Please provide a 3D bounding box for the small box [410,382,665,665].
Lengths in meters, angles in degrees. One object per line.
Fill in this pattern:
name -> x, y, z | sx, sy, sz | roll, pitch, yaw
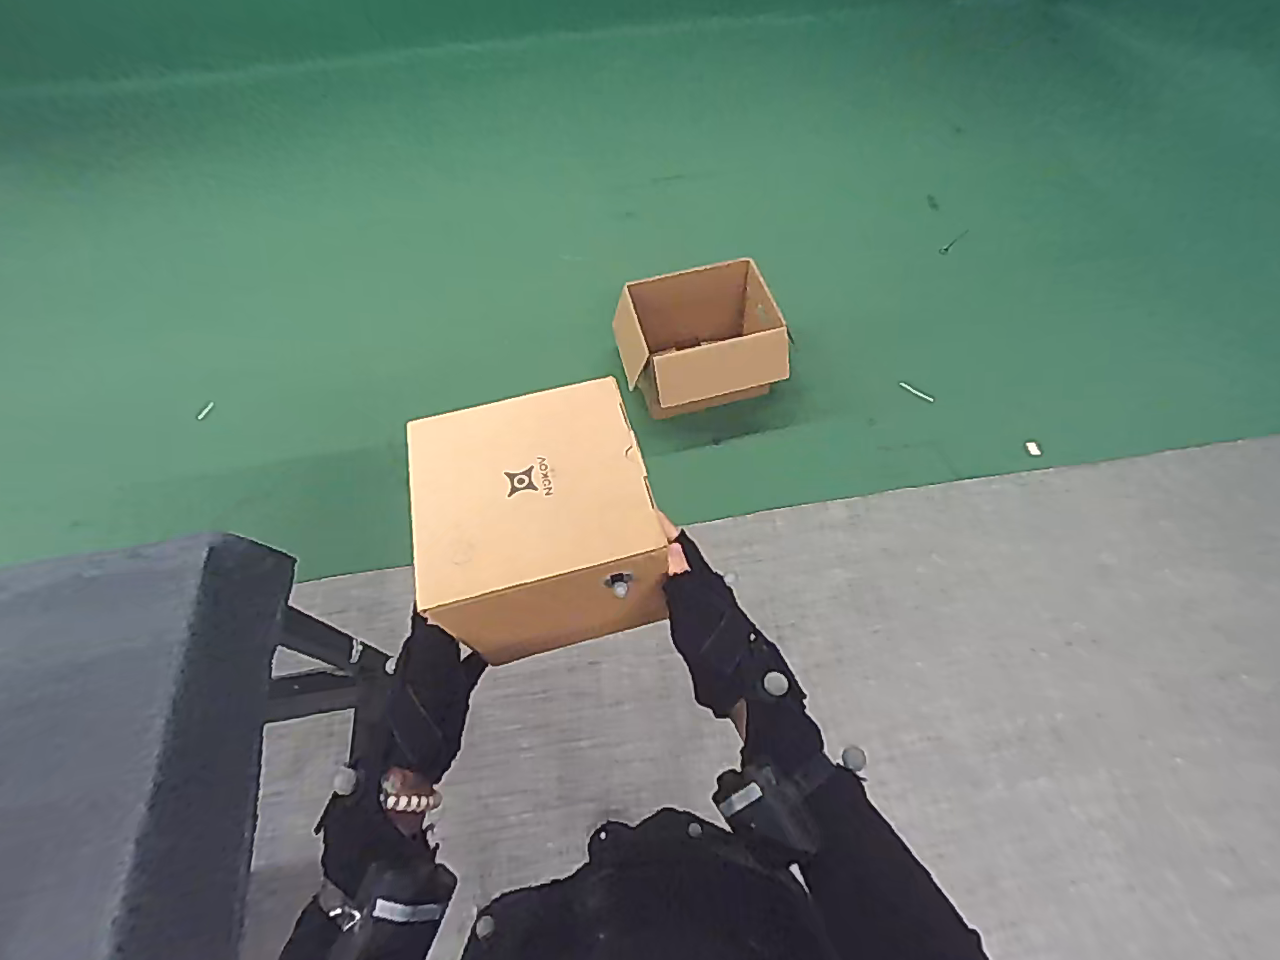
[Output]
small box -> -0.081, 0.046, 0.474 | 0.179, 0.176, 0.168 | -14, 58, -6
